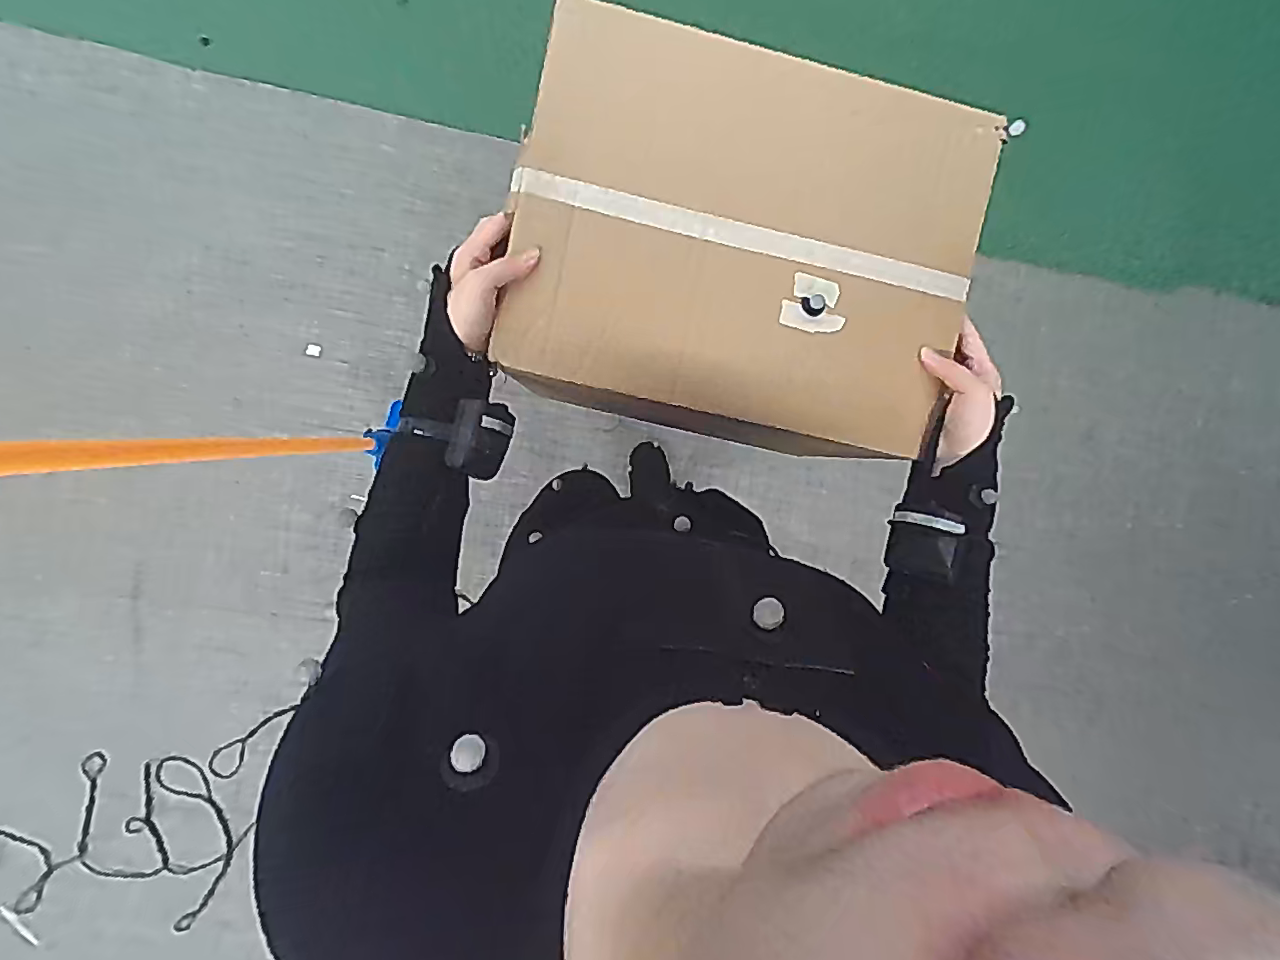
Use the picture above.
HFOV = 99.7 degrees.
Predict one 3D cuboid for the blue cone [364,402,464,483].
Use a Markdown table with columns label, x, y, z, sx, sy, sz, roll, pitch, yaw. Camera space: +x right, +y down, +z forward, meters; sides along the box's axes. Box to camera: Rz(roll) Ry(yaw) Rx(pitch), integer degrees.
| label | x | y | z | sx | sy | sz | roll | pitch | yaw |
| --- | --- | --- | --- | --- | --- | --- | --- | --- | --- |
| blue cone | -0.558 | -0.093 | 1.265 | 0.193 | 0.380 | 0.192 | 19 | 89 | -7 |

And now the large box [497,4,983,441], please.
| label | x | y | z | sx | sy | sz | roll | pitch | yaw |
| --- | --- | --- | --- | --- | --- | --- | --- | --- | --- |
| large box | 0.079 | -0.230 | 0.627 | 0.408 | 0.320 | 0.320 | 10 | 94 | -5 |
